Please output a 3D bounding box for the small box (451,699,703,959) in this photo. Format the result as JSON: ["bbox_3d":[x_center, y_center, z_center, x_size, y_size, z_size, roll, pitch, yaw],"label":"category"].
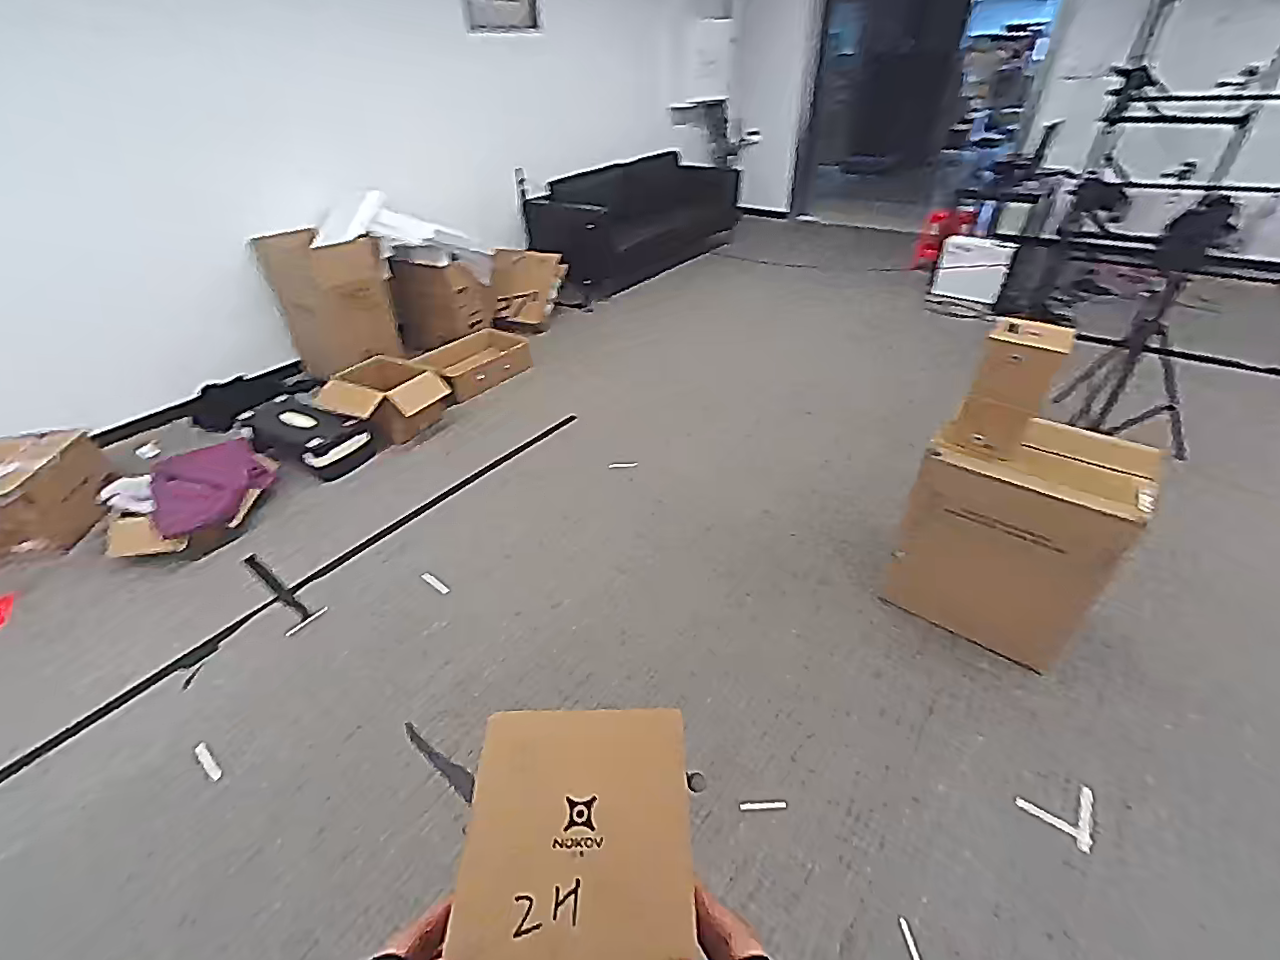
[{"bbox_3d":[-0.037,0.309,0.459,0.168,0.176,0.179,-1,42,2],"label":"small box"}]

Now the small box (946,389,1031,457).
[{"bbox_3d":[1.011,-0.194,1.558,0.168,0.176,0.179,24,47,31],"label":"small box"}]

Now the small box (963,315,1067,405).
[{"bbox_3d":[1.002,-0.322,1.454,0.179,0.176,0.168,24,46,30],"label":"small box"}]
